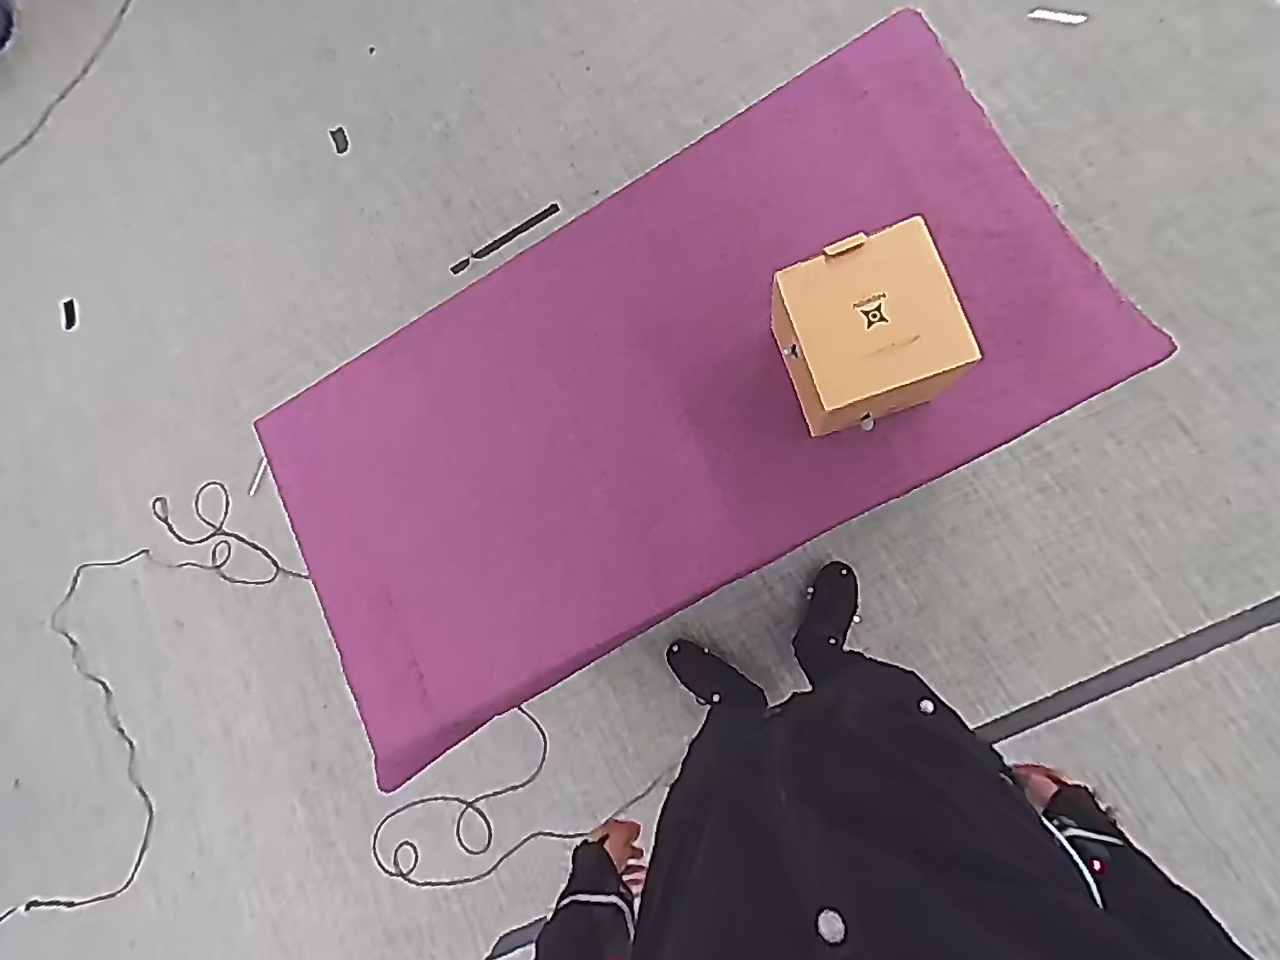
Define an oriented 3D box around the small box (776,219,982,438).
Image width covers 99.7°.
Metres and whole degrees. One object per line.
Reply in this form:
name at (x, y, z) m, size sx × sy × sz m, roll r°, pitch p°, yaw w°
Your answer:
small box at (0.269, -0.168, 0.658) m, size 0.168 × 0.176 × 0.179 m, roll -18°, pitch 80°, yaw 11°
